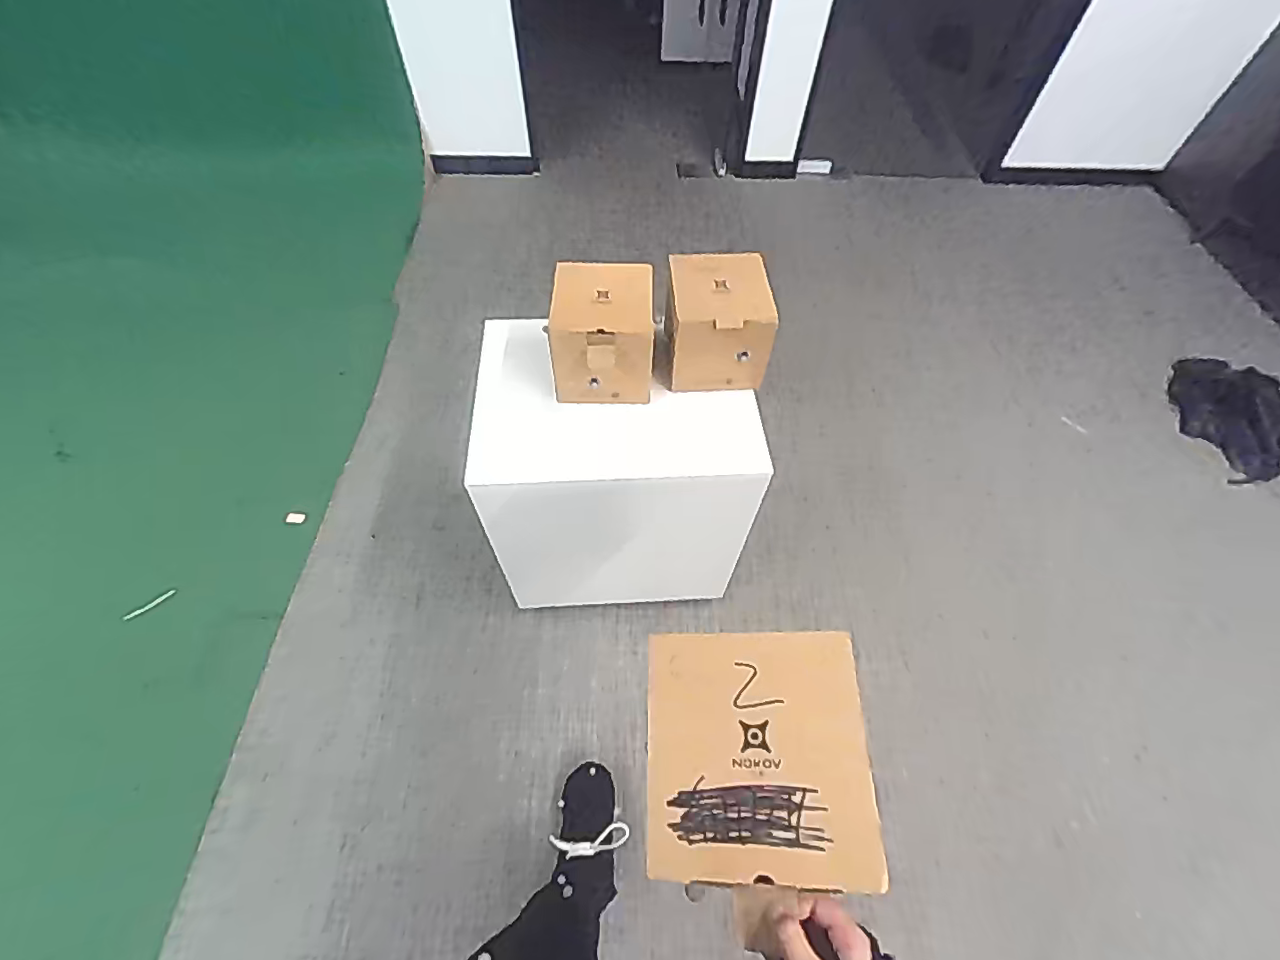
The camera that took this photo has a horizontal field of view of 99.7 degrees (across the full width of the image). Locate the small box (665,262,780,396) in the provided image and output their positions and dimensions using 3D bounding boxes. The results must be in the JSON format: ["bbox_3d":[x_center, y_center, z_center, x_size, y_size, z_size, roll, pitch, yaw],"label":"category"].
[{"bbox_3d":[0.137,-0.265,0.968,0.168,0.176,0.179,-2,56,-4],"label":"small box"}]
